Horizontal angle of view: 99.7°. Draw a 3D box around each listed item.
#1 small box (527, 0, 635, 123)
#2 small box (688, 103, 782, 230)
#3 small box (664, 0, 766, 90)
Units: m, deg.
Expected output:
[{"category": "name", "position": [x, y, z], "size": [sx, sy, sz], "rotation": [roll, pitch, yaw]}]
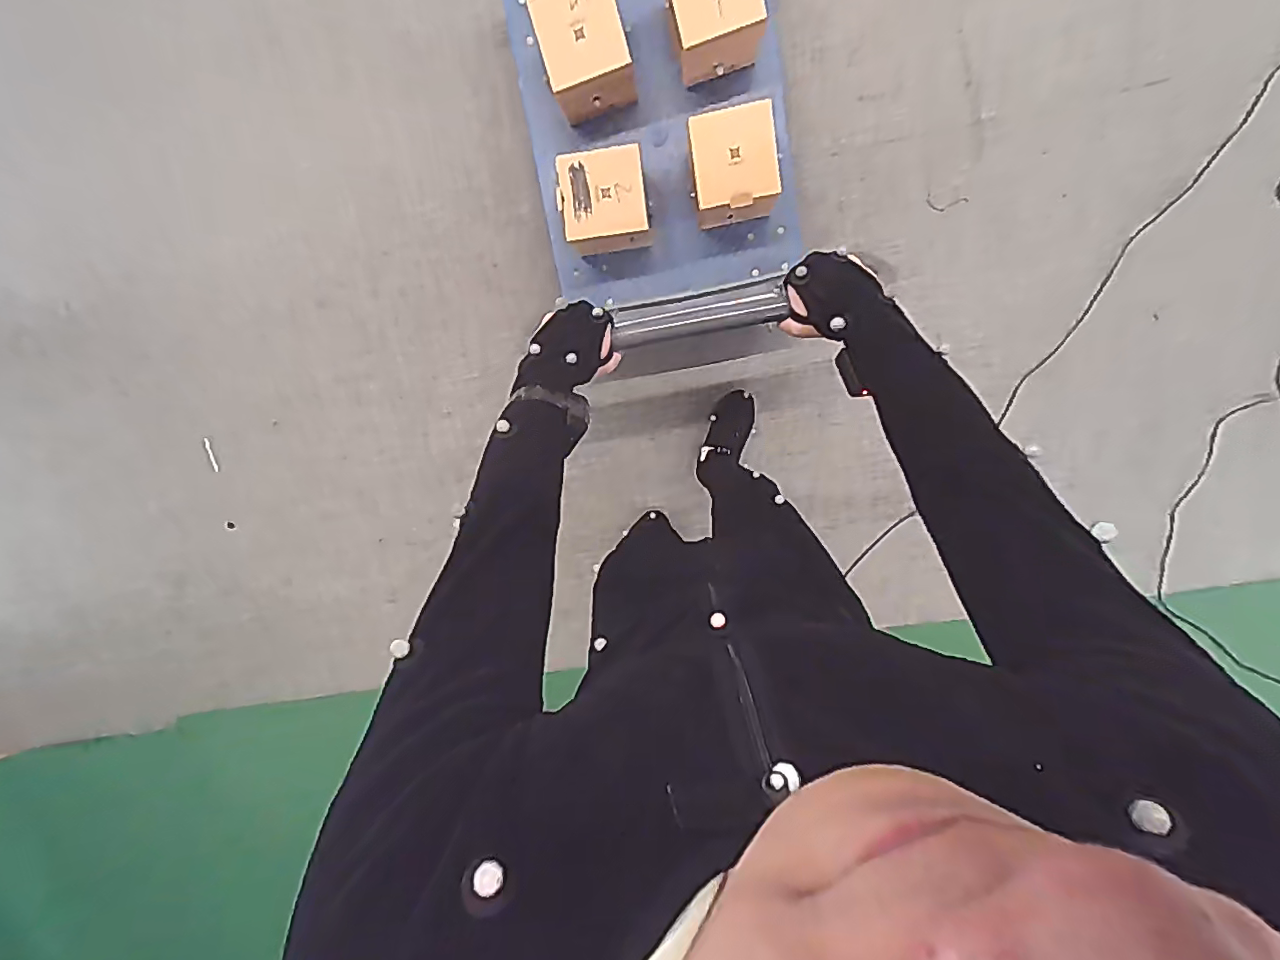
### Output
[{"category": "small box", "position": [-0.113, -0.880, 1.127], "size": [0.168, 0.176, 0.179], "rotation": [-16, 101, 7]}, {"category": "small box", "position": [0.196, -0.658, 1.156], "size": [0.168, 0.176, 0.179], "rotation": [-10, 102, 6]}, {"category": "small box", "position": [0.144, -0.943, 1.093], "size": [0.168, 0.176, 0.179], "rotation": [-15, 102, 8]}]
